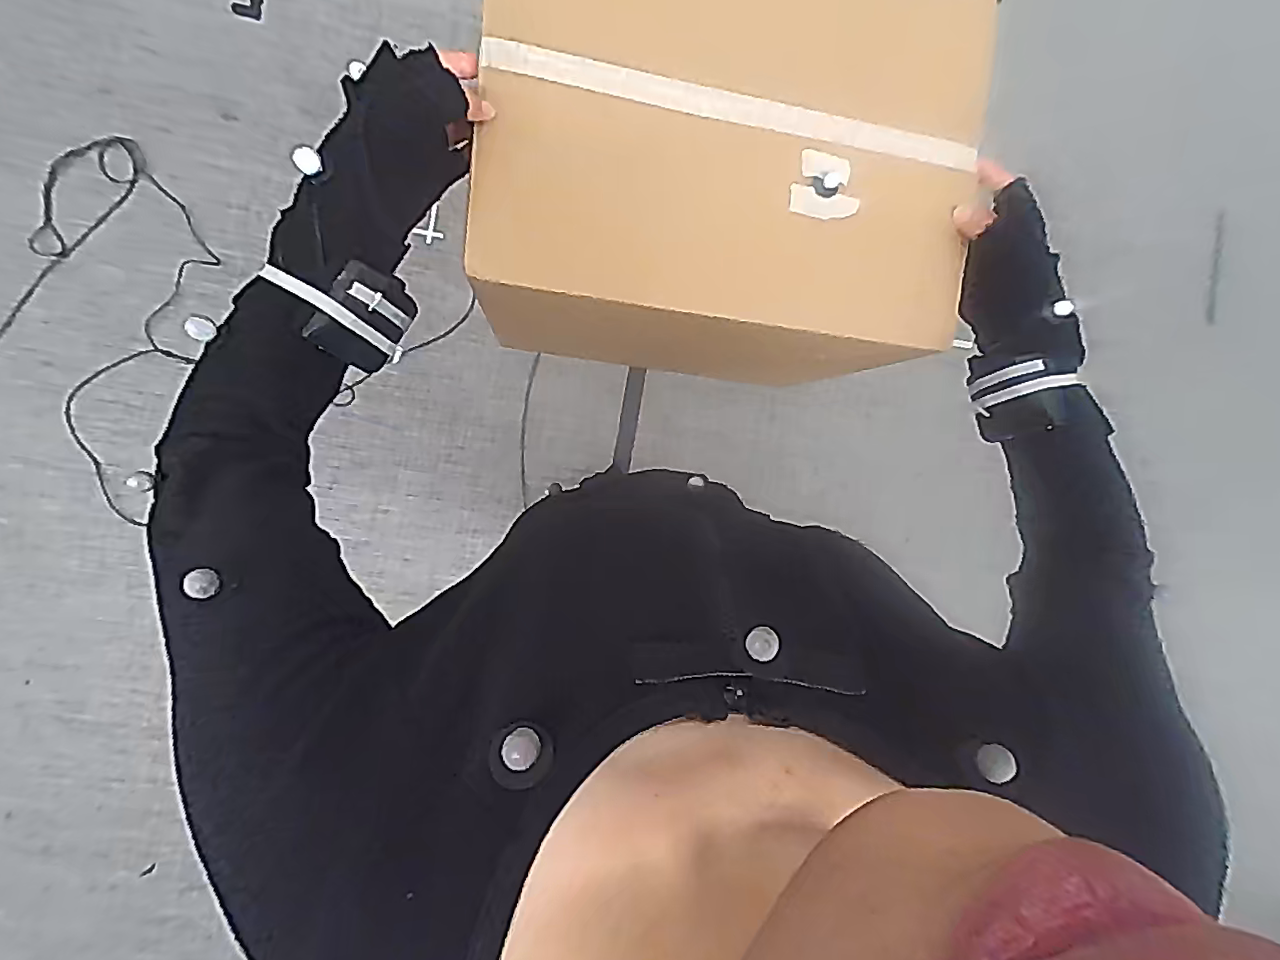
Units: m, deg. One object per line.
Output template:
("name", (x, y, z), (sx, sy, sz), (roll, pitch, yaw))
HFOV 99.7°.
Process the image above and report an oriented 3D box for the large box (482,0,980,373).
("large box", (0.058, -0.305, 0.578), (0.408, 0.320, 0.320), (5, 94, -11))
